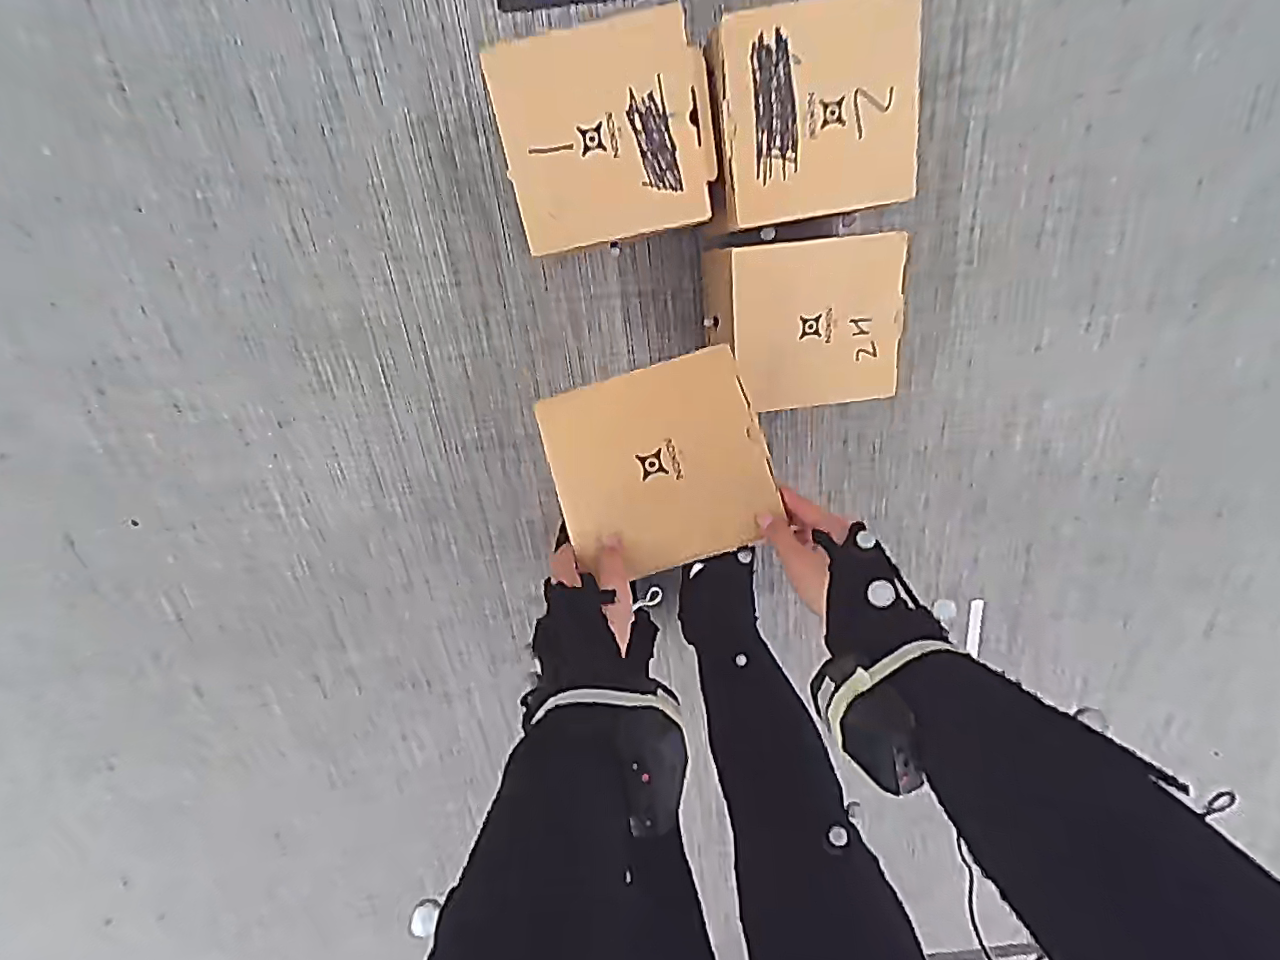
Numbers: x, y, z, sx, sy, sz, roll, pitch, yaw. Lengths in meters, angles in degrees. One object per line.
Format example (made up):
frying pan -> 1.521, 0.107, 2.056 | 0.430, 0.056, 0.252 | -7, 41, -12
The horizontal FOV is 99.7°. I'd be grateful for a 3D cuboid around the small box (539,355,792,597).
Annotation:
small box -> 0.024, 0.009, 0.521 | 0.179, 0.176, 0.168 | -17, 80, 2
